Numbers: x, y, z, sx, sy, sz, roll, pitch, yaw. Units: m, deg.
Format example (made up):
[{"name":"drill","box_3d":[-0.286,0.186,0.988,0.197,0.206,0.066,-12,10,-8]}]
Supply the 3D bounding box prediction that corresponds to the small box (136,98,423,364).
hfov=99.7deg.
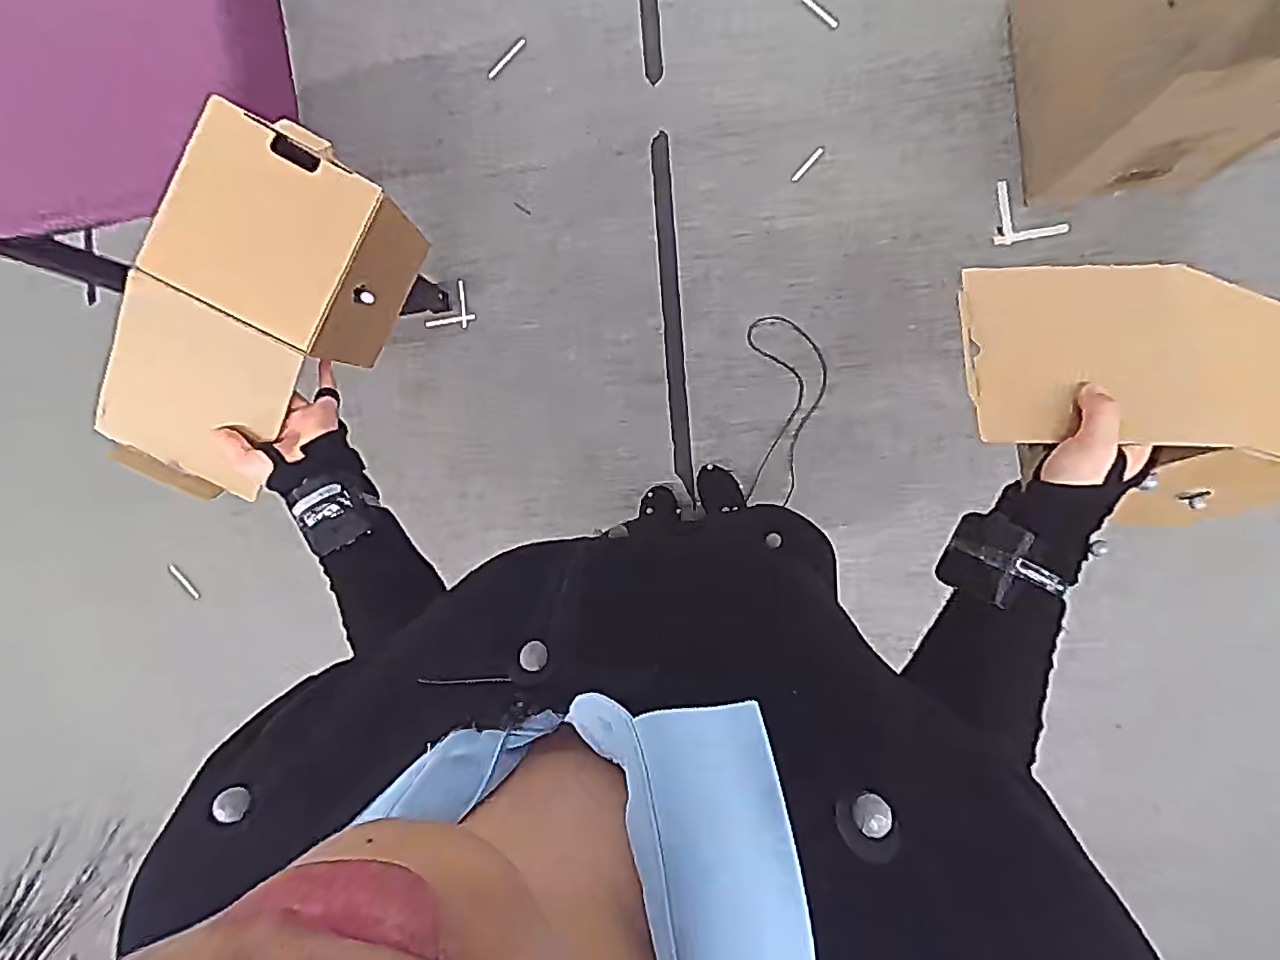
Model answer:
[{"name":"small box","box_3d":[-0.360,-0.241,0.580,0.168,0.176,0.179,28,93,-9]}]
